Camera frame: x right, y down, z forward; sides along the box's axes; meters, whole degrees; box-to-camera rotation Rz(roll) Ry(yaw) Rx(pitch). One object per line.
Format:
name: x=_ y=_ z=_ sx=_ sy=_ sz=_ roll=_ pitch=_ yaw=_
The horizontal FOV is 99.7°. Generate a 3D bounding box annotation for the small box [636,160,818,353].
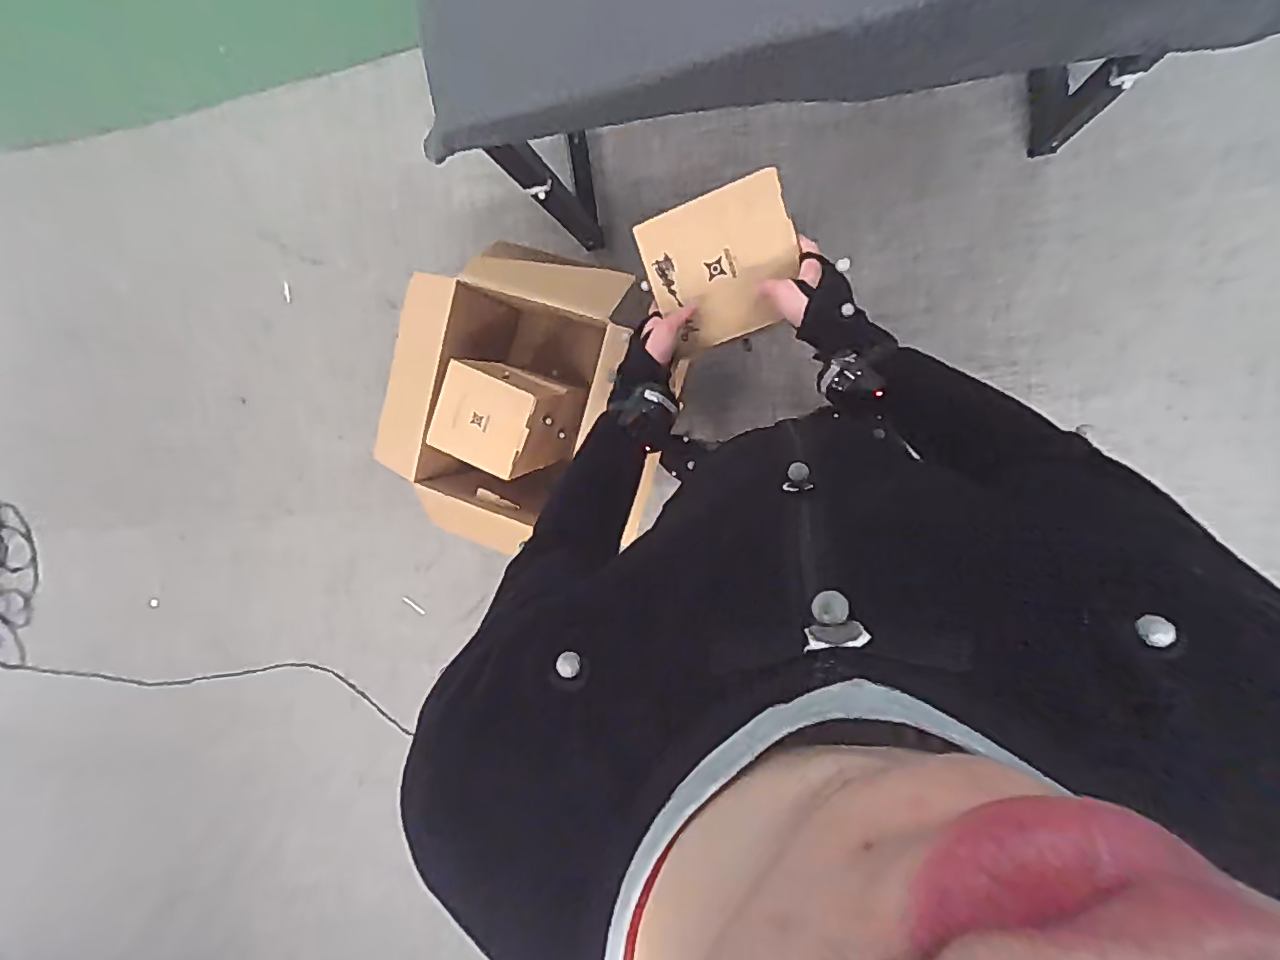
small box: x=0.112 y=-0.272 z=0.701 sx=0.179 sy=0.176 sz=0.168 roll=-17 pitch=98 yaw=13
